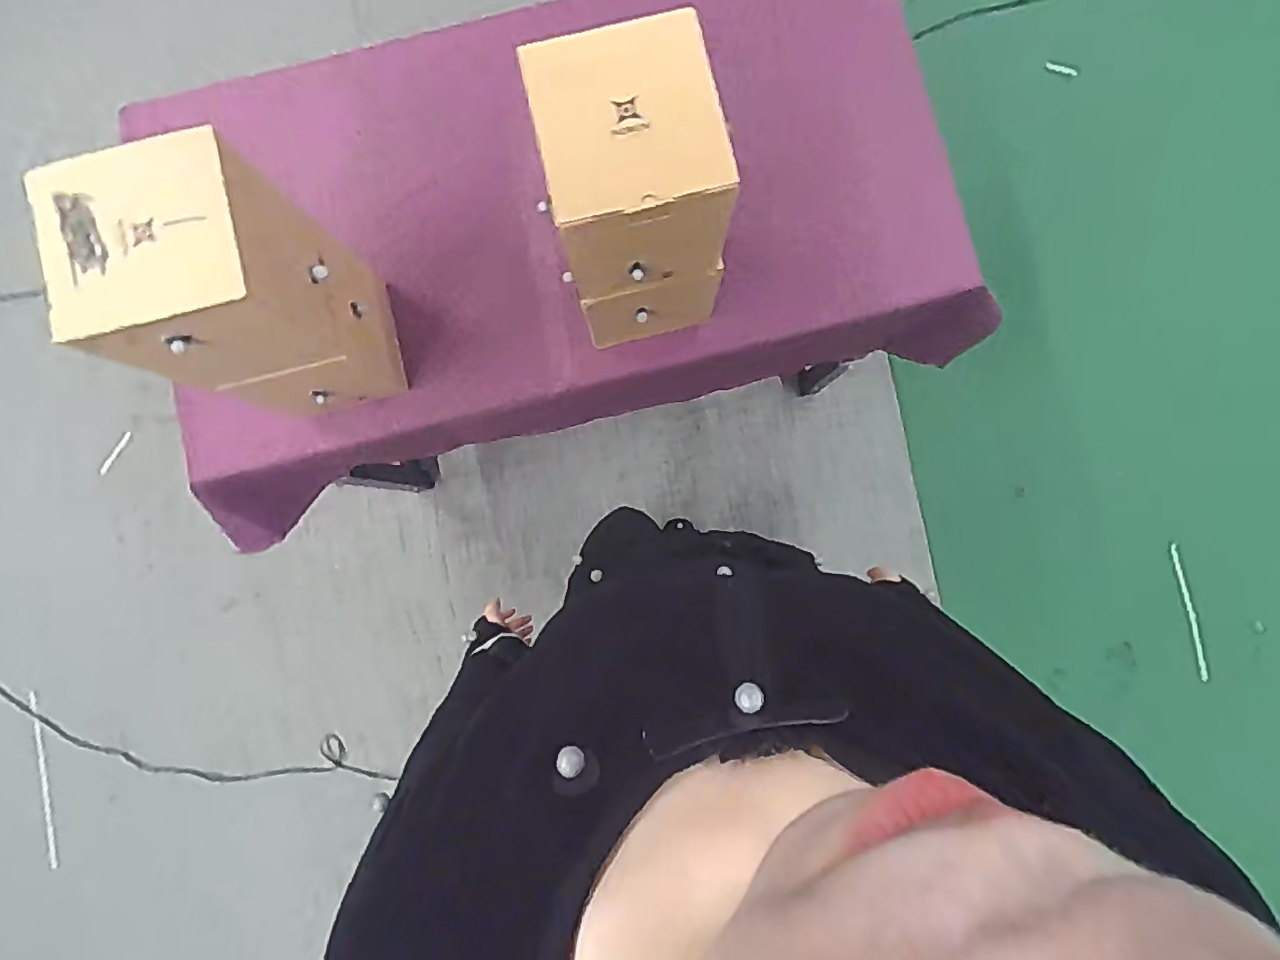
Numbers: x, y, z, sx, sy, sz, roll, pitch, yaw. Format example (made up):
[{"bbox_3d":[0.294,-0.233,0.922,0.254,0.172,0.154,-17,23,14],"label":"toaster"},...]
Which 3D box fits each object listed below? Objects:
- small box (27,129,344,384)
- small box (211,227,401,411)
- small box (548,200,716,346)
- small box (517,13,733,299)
[{"bbox_3d":[-0.447,-0.211,0.559,0.179,0.176,0.168,-14,86,-1],"label":"small box"},{"bbox_3d":[-0.444,-0.199,0.723,0.168,0.176,0.179,-14,85,-1],"label":"small box"},{"bbox_3d":[-0.008,-0.297,0.724,0.179,0.176,0.168,-15,86,1],"label":"small box"},{"bbox_3d":[-0.015,-0.317,0.562,0.168,0.176,0.179,-13,86,0],"label":"small box"}]
